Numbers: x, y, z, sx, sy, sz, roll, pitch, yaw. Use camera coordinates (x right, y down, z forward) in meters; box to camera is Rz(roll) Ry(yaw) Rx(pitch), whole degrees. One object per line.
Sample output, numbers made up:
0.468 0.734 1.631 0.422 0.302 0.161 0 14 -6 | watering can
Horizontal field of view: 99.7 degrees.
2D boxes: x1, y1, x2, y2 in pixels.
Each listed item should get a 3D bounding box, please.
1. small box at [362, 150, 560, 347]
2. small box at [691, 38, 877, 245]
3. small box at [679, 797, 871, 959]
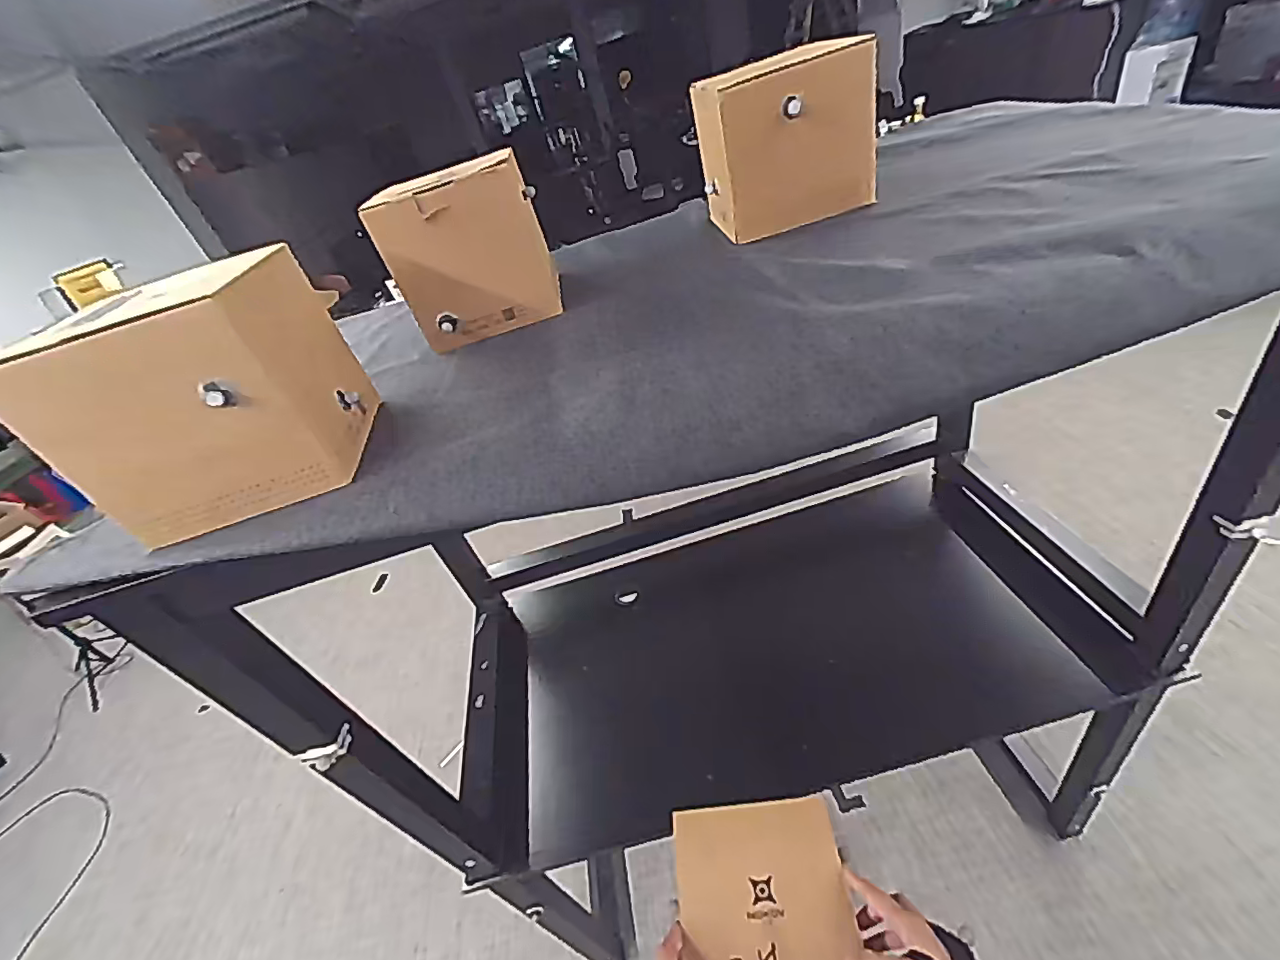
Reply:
-0.204 -0.283 0.671 0.168 0.176 0.179 -18 36 2 | small box
0.177 -0.421 0.680 0.179 0.176 0.168 -16 37 5 | small box
0.136 0.465 0.568 0.168 0.176 0.179 -10 39 6 | small box
